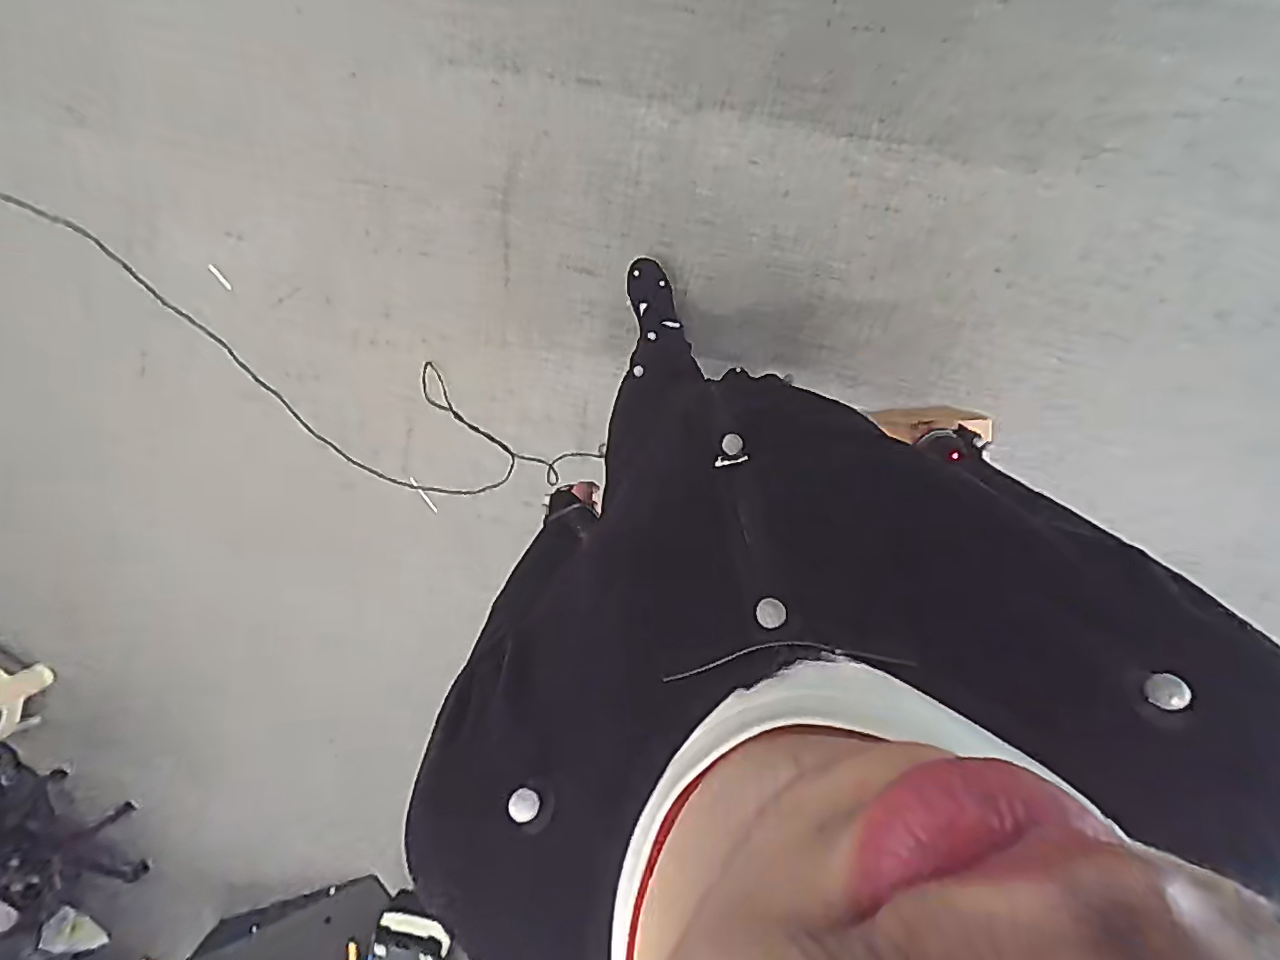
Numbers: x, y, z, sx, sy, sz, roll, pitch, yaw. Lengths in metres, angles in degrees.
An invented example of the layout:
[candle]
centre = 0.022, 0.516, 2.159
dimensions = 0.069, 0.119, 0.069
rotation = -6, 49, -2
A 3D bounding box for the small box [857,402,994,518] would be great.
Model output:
[small box]
centre = 0.461, -0.036, 0.897
dimensions = 0.168, 0.179, 0.176
rotation = 0, 101, 12
